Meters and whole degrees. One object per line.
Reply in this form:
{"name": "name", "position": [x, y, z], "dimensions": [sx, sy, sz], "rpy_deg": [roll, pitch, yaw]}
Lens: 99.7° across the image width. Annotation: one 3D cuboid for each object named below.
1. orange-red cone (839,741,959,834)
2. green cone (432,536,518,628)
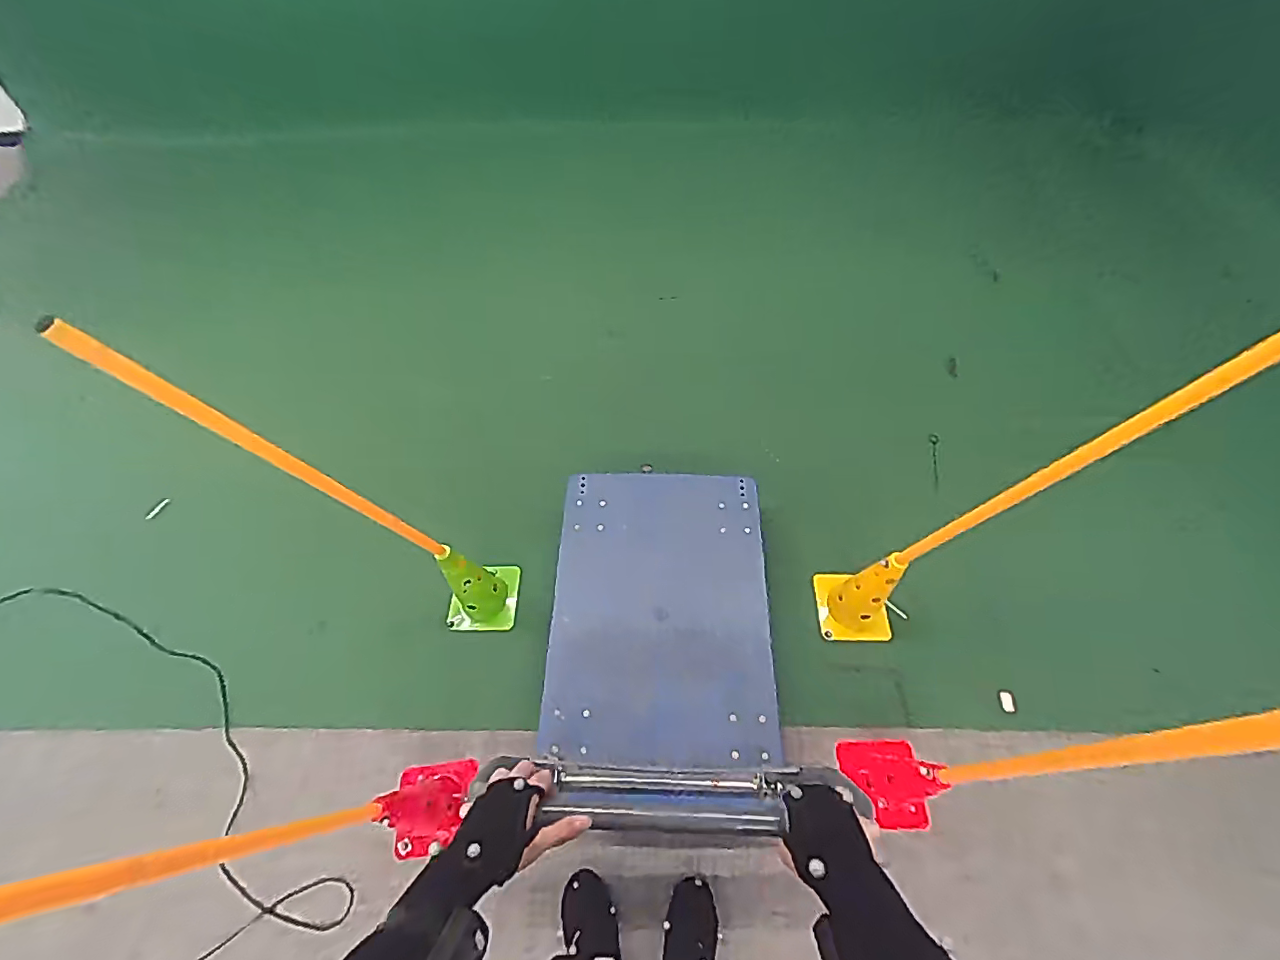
{"name": "orange-red cone", "position": [0.602, 0.667, 1.198], "dimensions": [0.198, 0.360, 0.199], "rpy_deg": [0, 57, 1]}
{"name": "green cone", "position": [-0.480, 0.254, 1.472], "dimensions": [0.200, 0.368, 0.202], "rpy_deg": [-1, 58, 2]}
